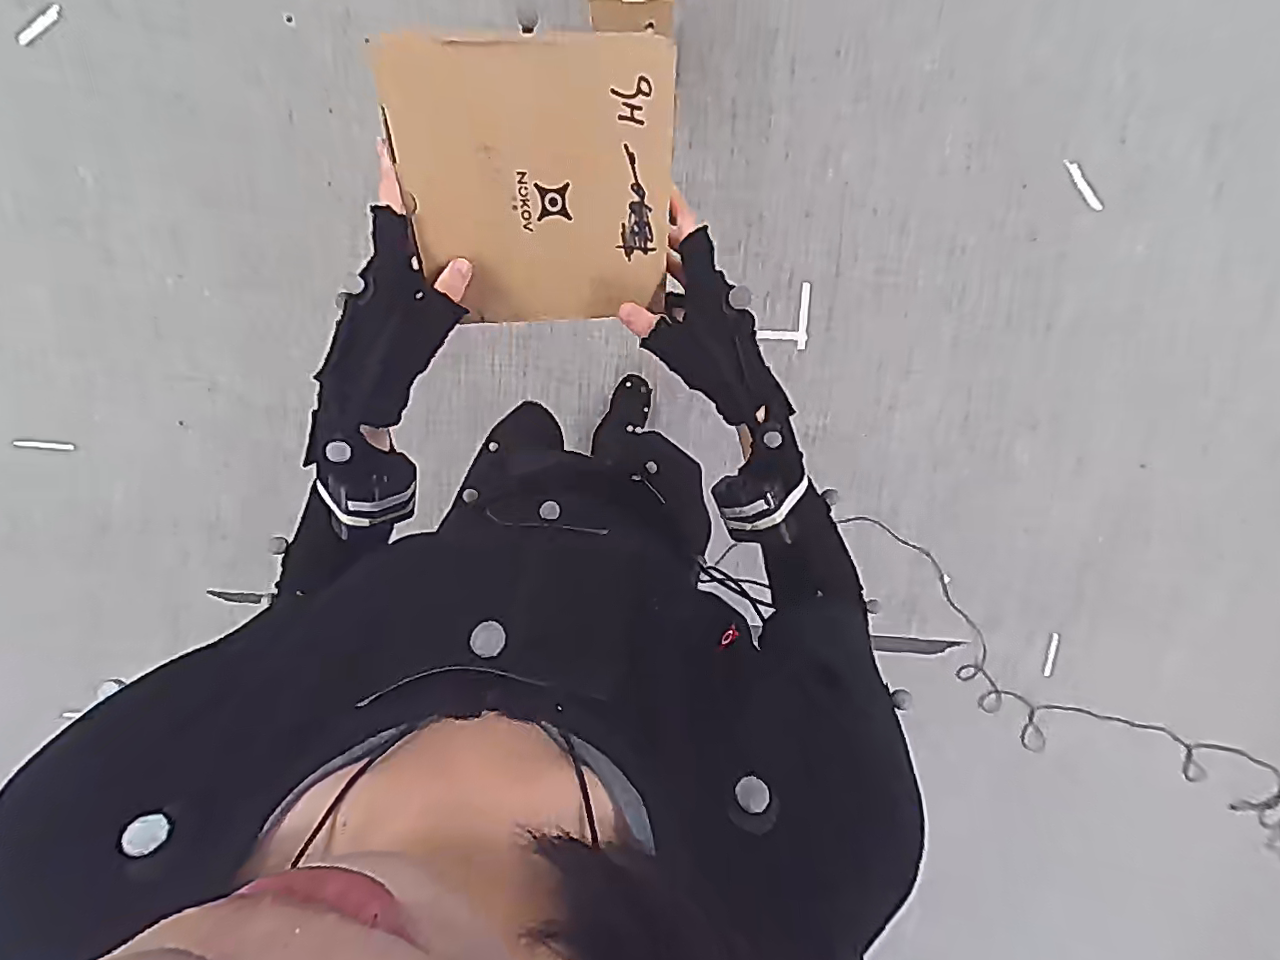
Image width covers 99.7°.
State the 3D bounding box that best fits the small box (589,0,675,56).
[{"bbox_3d":[-0.016,-0.997,1.090,0.168,0.176,0.179,0,99,-3],"label":"small box"}]

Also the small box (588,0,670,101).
[{"bbox_3d":[-0.026,-1.012,1.252,0.179,0.176,0.168,-3,100,0],"label":"small box"}]
